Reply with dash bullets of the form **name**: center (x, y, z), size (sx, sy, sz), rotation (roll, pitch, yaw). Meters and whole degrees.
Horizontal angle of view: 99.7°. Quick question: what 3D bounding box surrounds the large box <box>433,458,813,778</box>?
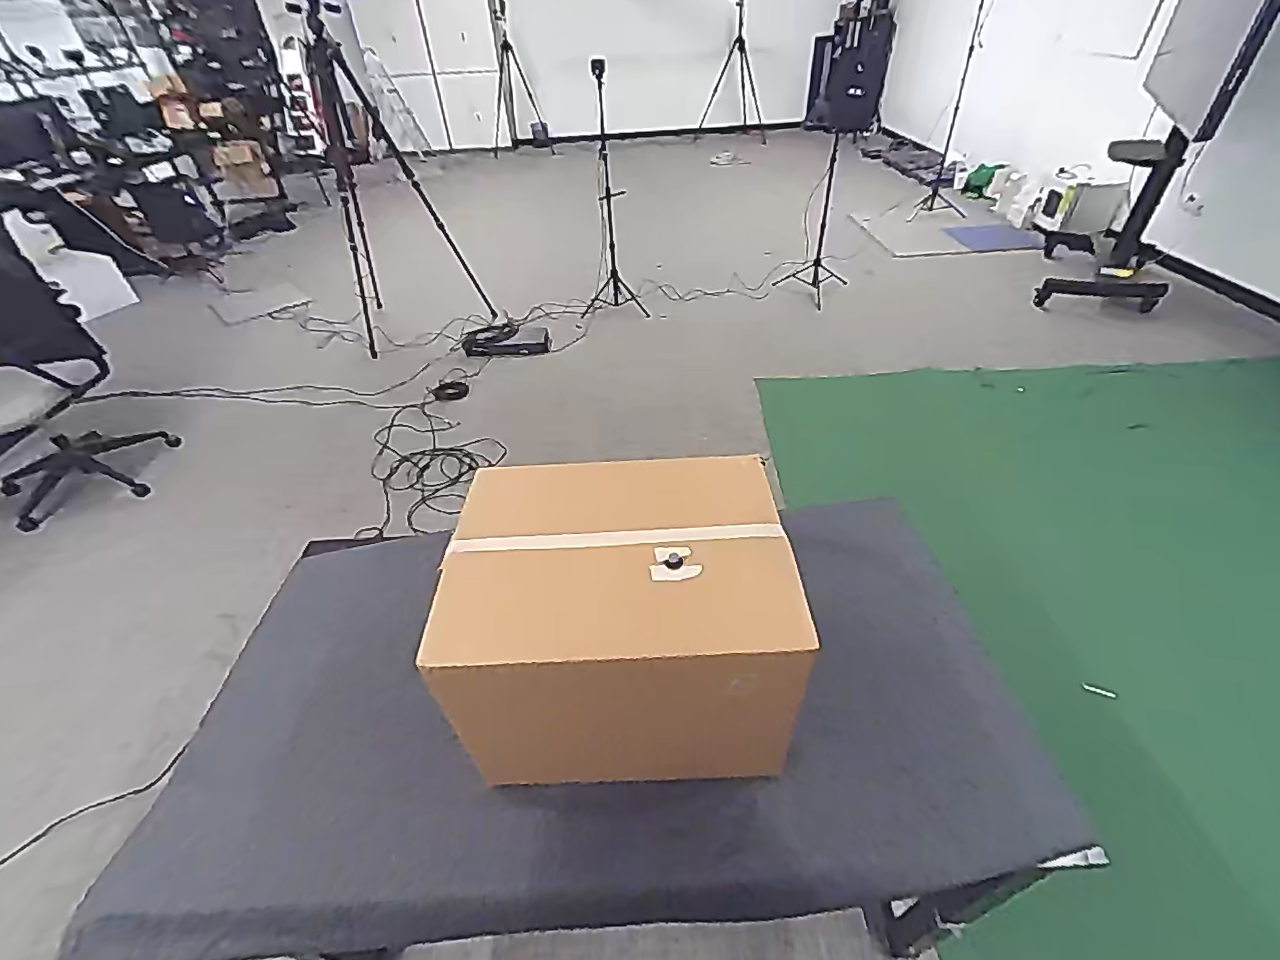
- **large box**: center (-0.019, 0.191, 0.763), size (0.408, 0.320, 0.320), rotation (-3, 42, 0)
